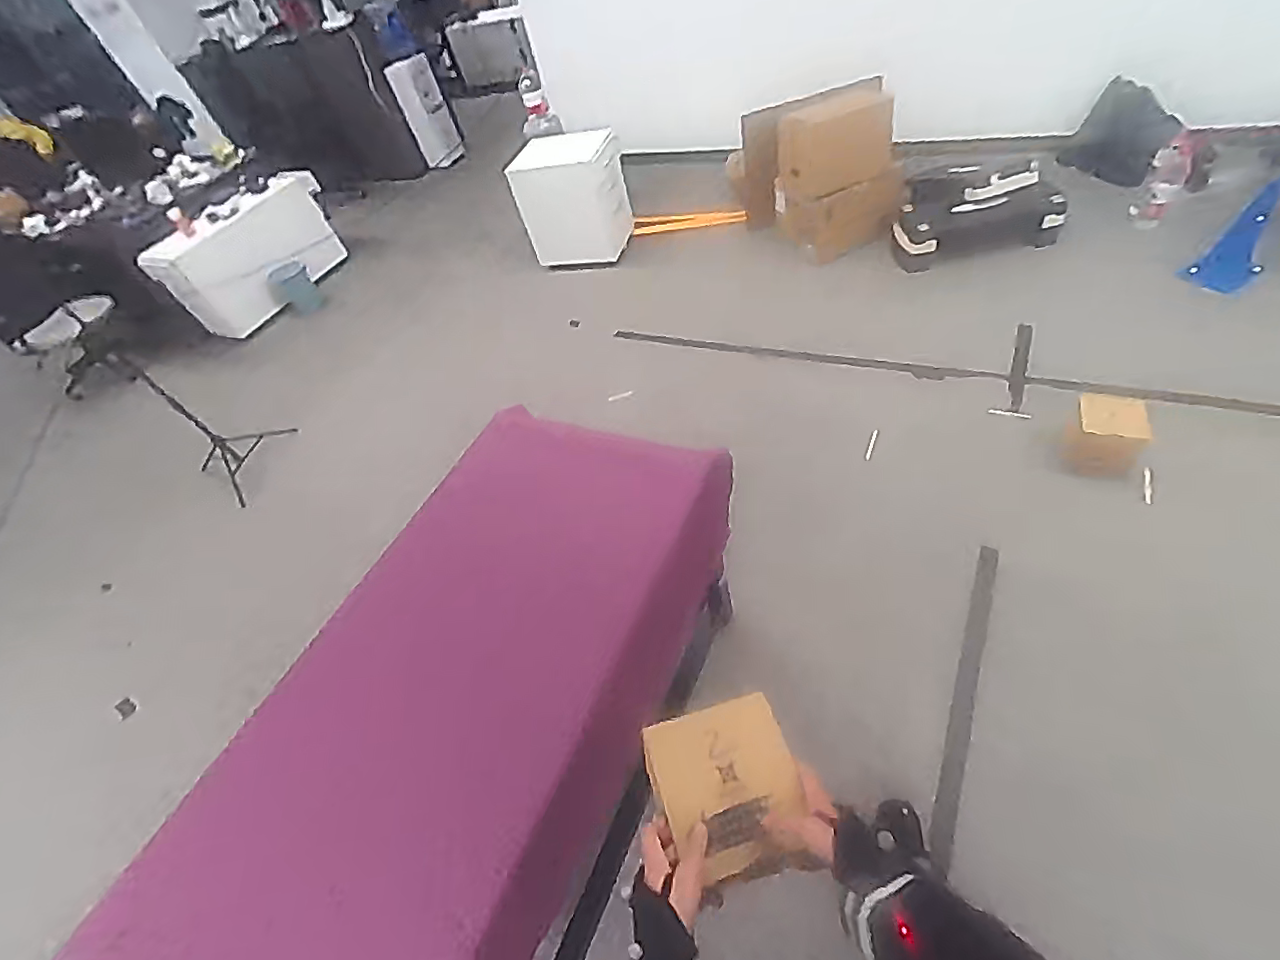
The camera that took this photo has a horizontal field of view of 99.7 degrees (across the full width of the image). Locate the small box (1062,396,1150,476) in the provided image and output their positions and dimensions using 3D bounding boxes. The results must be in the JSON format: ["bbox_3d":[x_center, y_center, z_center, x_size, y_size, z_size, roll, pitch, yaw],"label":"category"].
[{"bbox_3d":[1.468,-0.139,1.717,0.168,0.176,0.179,11,56,24],"label":"small box"}]
